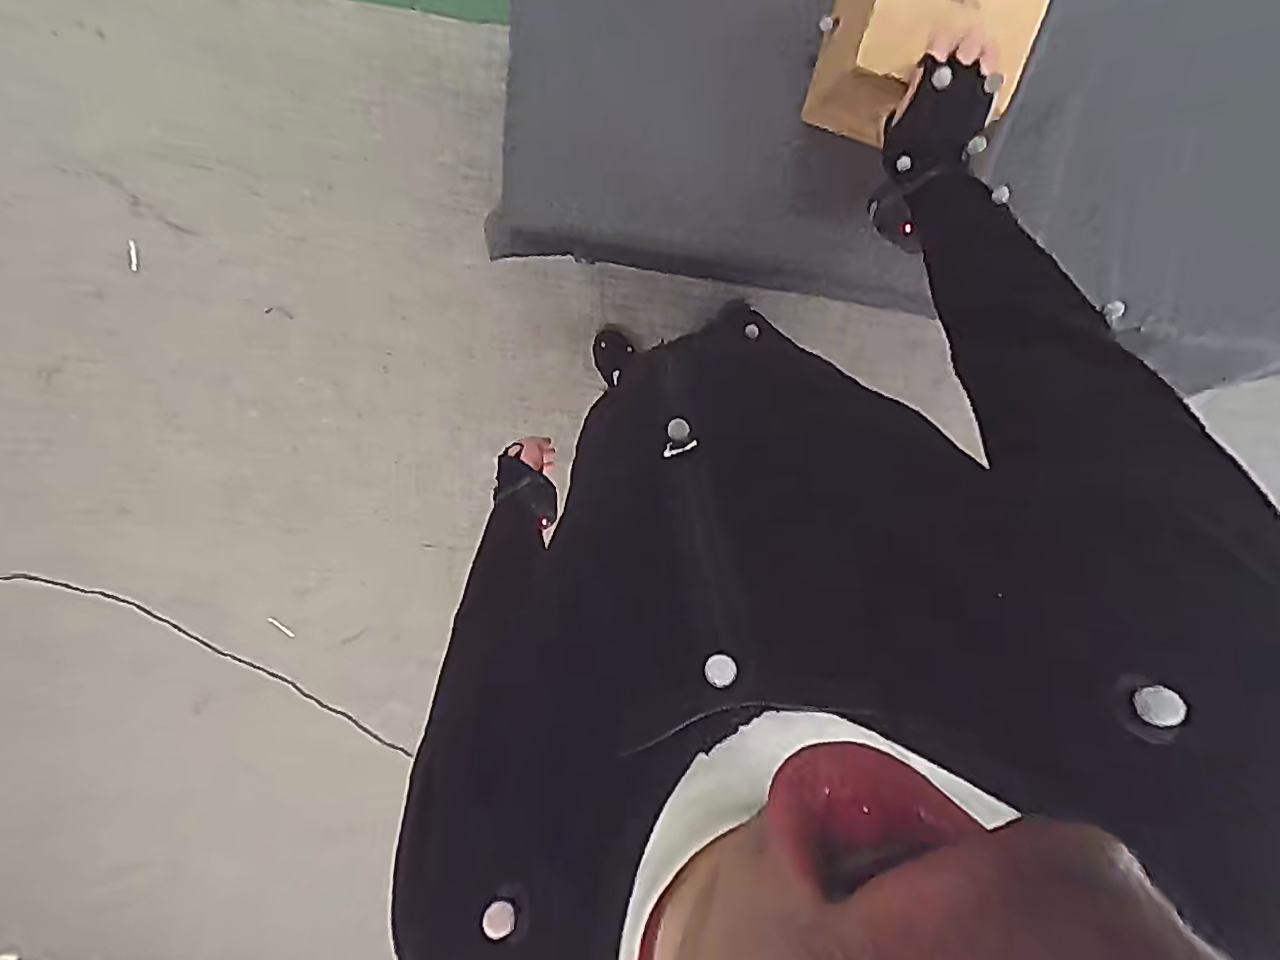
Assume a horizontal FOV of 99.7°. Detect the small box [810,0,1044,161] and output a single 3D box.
[{"bbox_3d":[0.307,-0.484,0.602,0.168,0.176,0.179,11,106,-4],"label":"small box"}]
